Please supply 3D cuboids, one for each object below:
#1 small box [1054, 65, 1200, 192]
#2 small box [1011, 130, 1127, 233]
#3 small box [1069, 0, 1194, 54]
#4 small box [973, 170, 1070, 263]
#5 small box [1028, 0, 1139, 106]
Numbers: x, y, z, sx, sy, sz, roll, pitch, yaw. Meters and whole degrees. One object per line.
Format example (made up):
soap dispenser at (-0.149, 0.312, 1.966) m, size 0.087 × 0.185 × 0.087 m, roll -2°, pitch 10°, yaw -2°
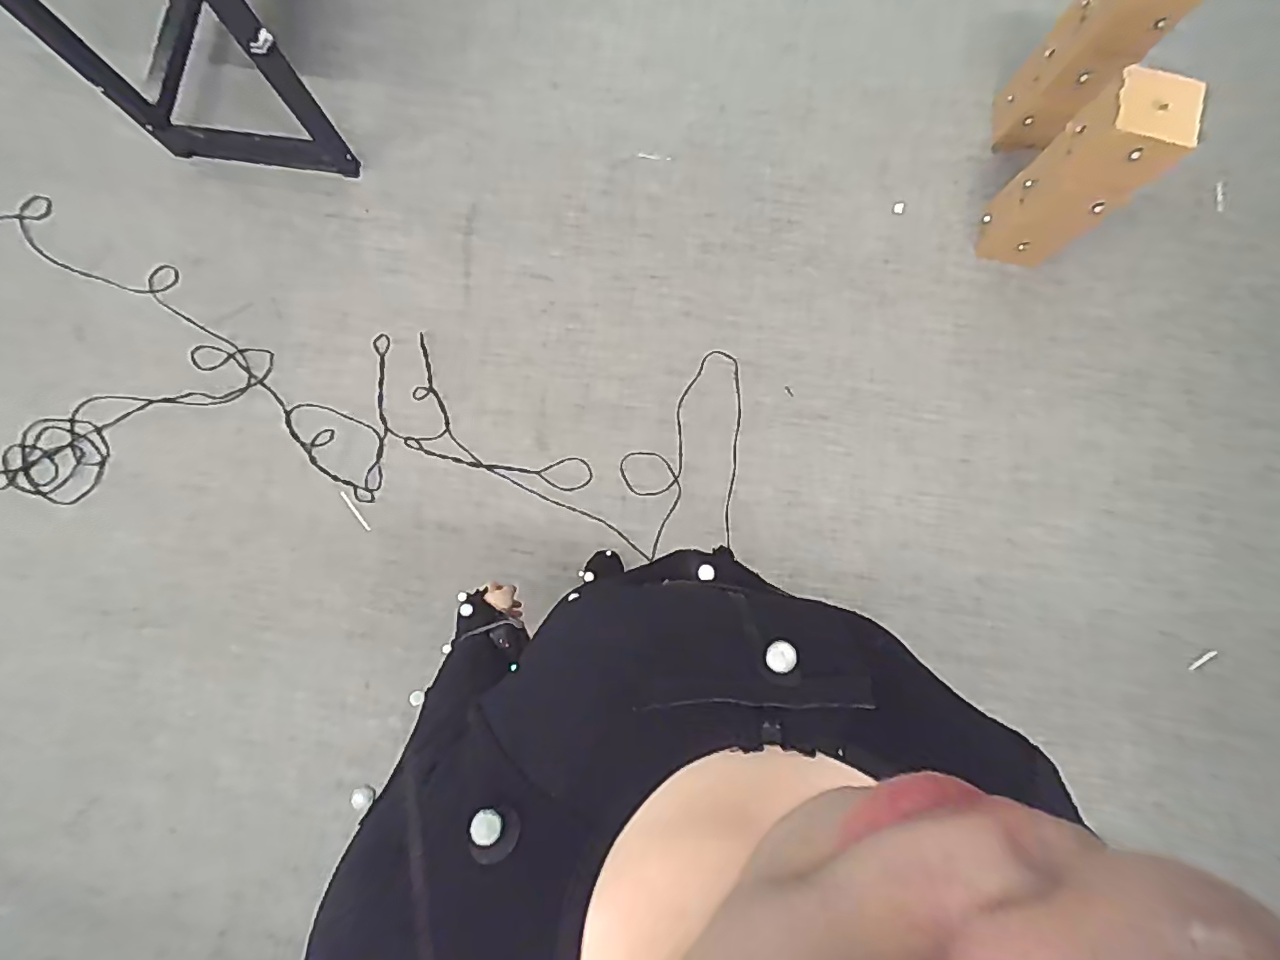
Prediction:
small box at (1.119, -0.803, 1.254) m, size 0.179 × 0.176 × 0.168 m, roll 14°, pitch 83°, yaw 2°
small box at (1.122, -0.778, 1.414) m, size 0.179 × 0.176 × 0.168 m, roll 12°, pitch 82°, yaw 1°
small box at (1.187, -1.174, 1.302) m, size 0.179 × 0.176 × 0.168 m, roll 6°, pitch 81°, yaw 1°
small box at (1.118, -0.759, 1.578) m, size 0.179 × 0.176 × 0.168 m, roll 14°, pitch 83°, yaw 2°
small box at (1.190, -1.154, 1.464) m, size 0.179 × 0.176 × 0.168 m, roll 5°, pitch 82°, yaw 0°
